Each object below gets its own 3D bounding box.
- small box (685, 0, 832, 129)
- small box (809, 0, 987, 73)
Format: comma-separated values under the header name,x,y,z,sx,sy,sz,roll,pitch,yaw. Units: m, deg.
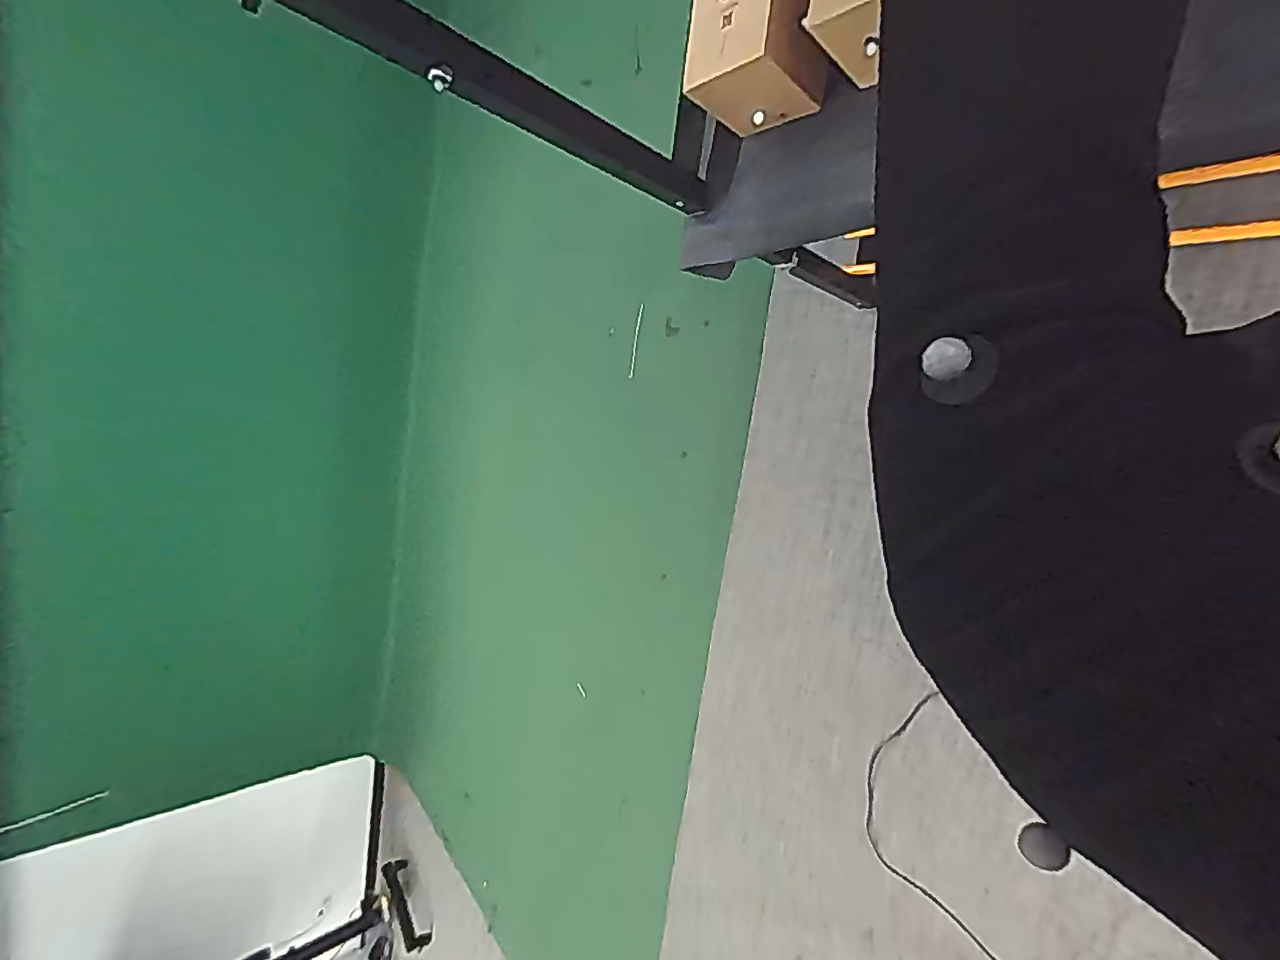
name,x,y,z,sx,sy,sz,roll,pitch,yaw
small box,0.198,-0.717,0.878,0.168,0.176,0.179,15,100,46
small box,0.353,-0.683,0.714,0.168,0.176,0.179,17,101,46
